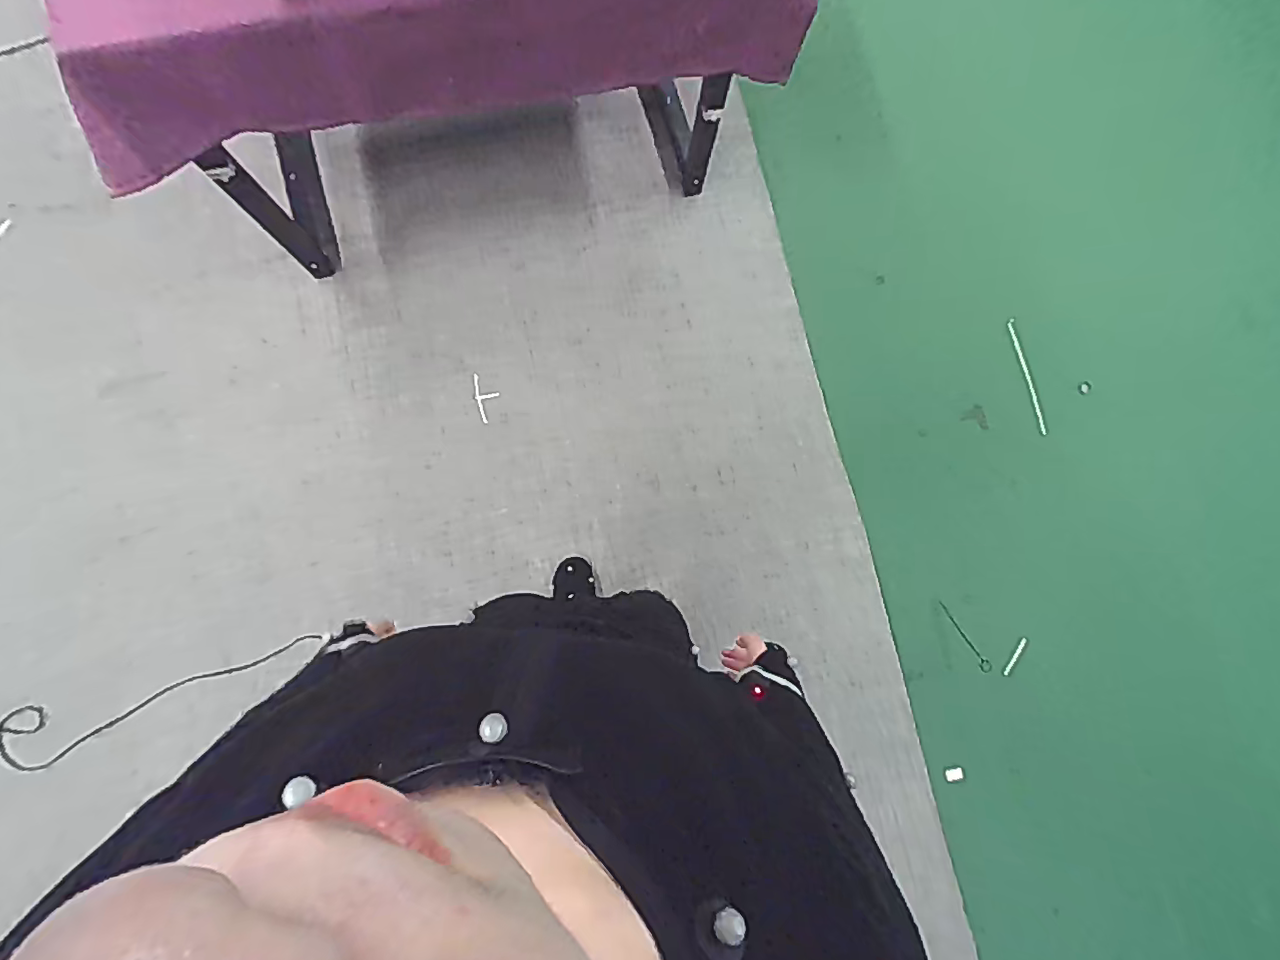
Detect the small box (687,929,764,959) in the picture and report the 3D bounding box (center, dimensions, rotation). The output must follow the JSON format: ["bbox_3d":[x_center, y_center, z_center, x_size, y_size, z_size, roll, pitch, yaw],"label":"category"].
[{"bbox_3d":[0.211,1.130,1.159,0.168,0.176,0.179,-16,83,-6],"label":"small box"}]
